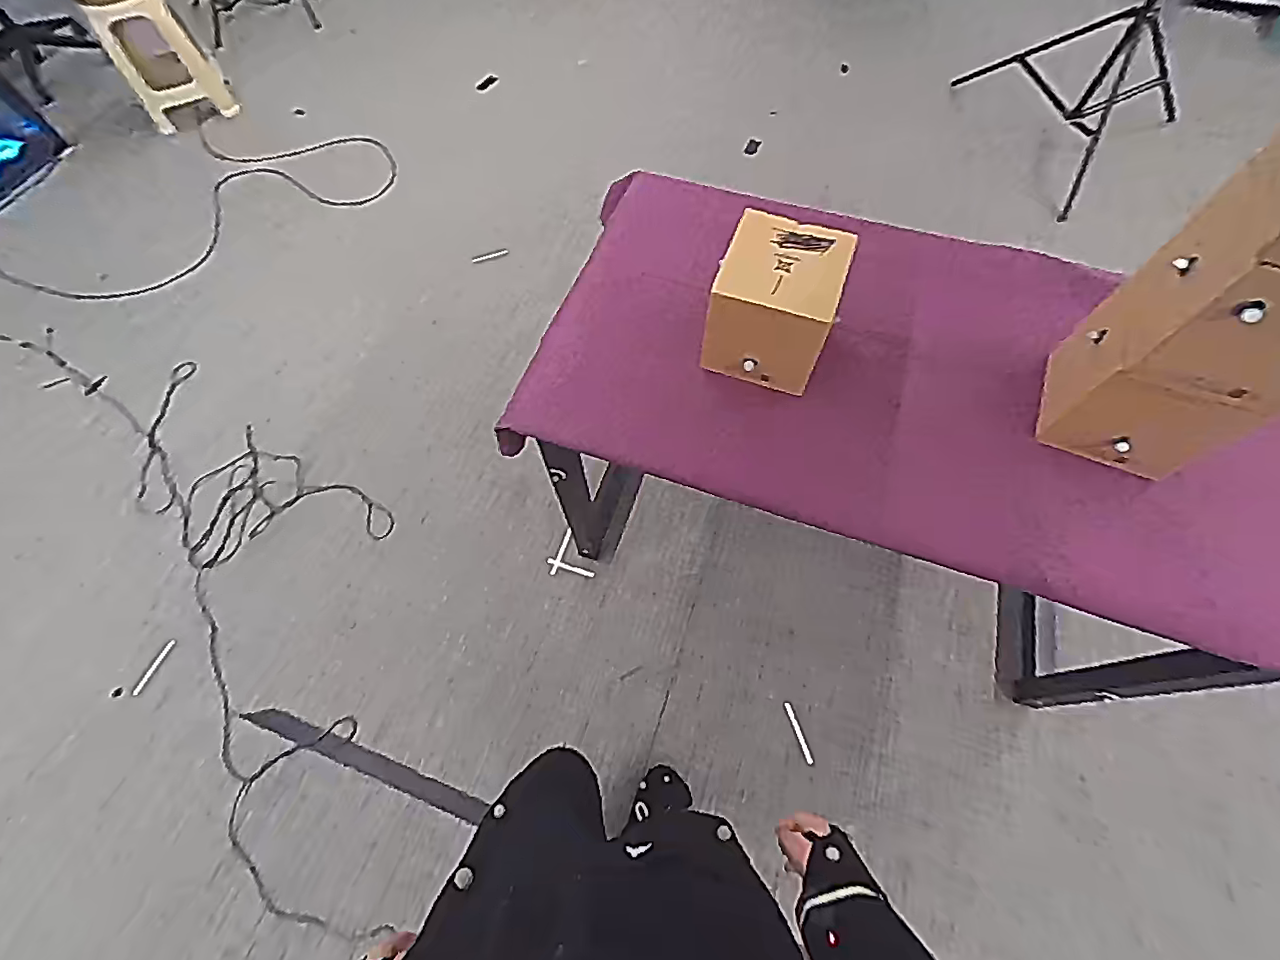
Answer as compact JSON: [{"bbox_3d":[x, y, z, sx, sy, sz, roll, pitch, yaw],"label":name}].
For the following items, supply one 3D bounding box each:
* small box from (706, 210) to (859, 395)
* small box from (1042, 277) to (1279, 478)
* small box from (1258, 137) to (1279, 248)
[{"bbox_3d":[0.204,-0.260,0.811,0.168,0.176,0.179,19,67,10],"label":"small box"},{"bbox_3d":[0.690,-0.134,0.736,0.168,0.176,0.179,22,66,13],"label":"small box"},{"bbox_3d":[0.676,-0.275,0.441,0.168,0.176,0.179,24,65,12],"label":"small box"}]
